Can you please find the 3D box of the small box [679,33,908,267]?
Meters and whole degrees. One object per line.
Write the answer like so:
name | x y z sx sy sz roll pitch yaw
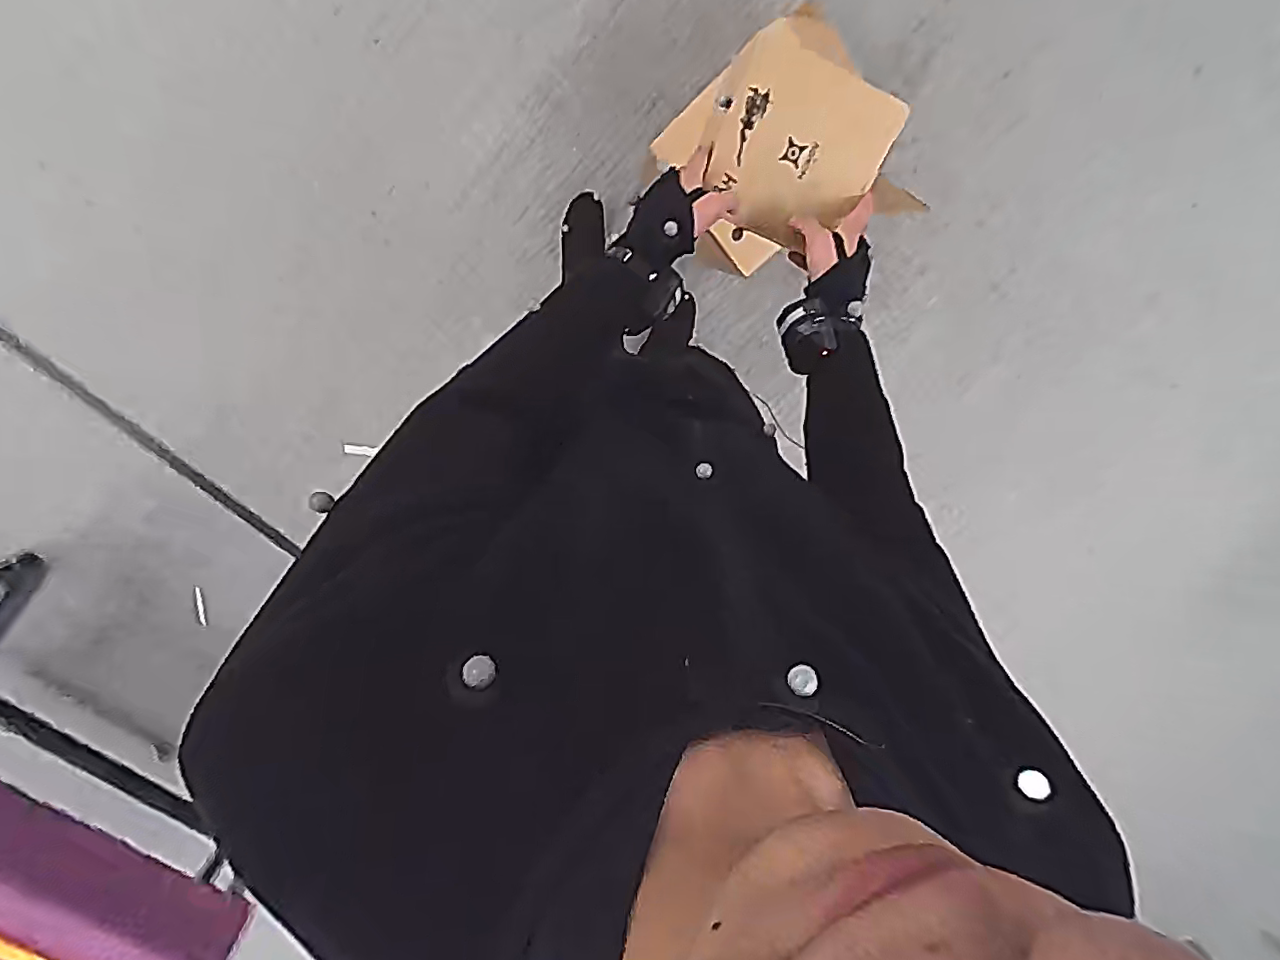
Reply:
small box | 0.162 -0.376 0.636 0.179 0.176 0.168 17 117 -13
